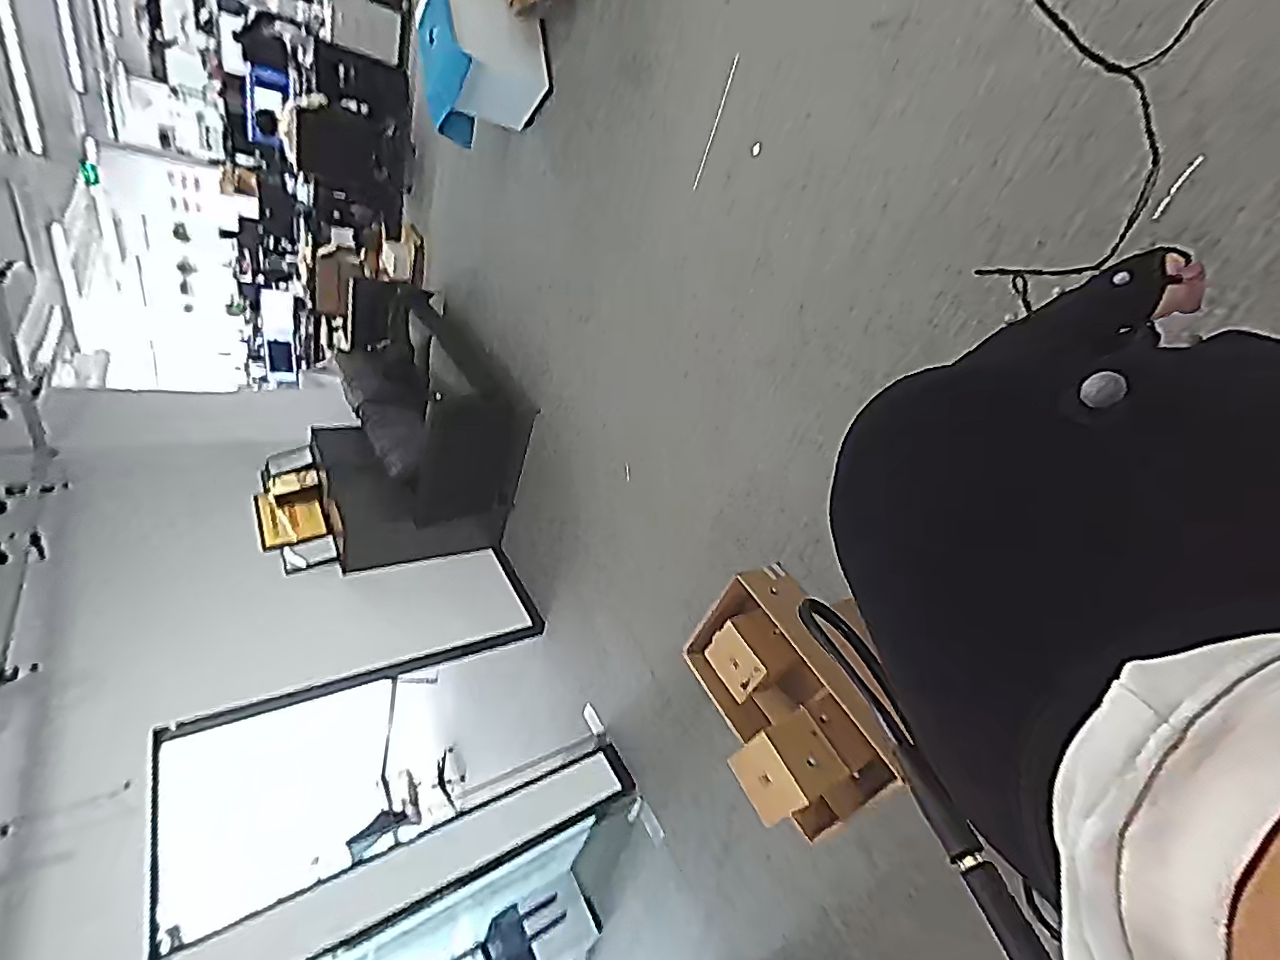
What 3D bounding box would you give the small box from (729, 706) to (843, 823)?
[{"bbox_3d":[0.355,0.676,1.298,0.168,0.176,0.179,56,135,32],"label":"small box"}]
